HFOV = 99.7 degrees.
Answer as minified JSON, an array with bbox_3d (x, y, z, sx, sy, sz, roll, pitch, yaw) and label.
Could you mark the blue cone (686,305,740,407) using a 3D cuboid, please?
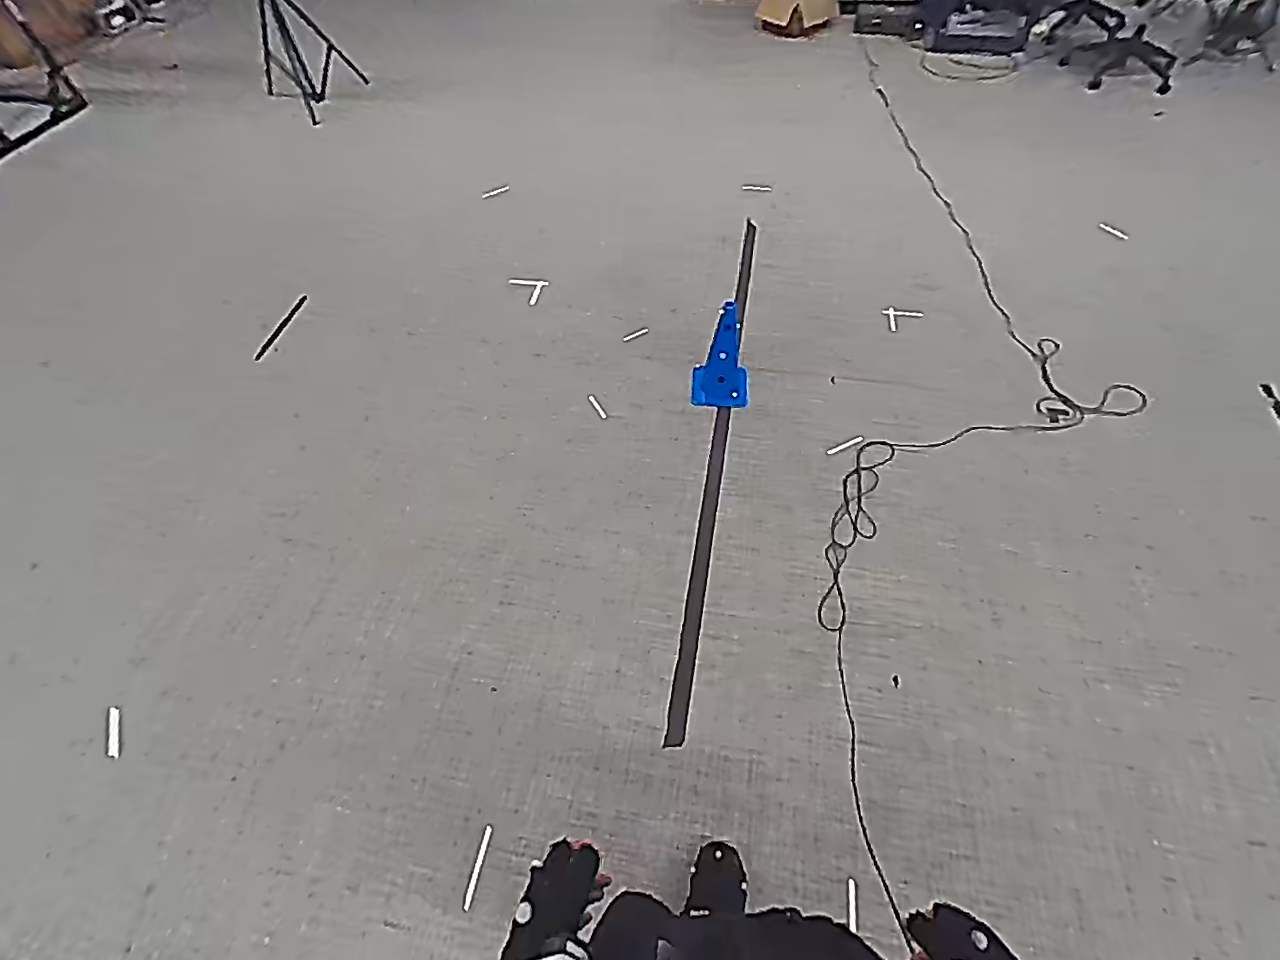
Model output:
[{"bbox_3d":[0.260,-0.430,1.841,0.192,0.380,0.193,4,55,6],"label":"blue cone"}]
